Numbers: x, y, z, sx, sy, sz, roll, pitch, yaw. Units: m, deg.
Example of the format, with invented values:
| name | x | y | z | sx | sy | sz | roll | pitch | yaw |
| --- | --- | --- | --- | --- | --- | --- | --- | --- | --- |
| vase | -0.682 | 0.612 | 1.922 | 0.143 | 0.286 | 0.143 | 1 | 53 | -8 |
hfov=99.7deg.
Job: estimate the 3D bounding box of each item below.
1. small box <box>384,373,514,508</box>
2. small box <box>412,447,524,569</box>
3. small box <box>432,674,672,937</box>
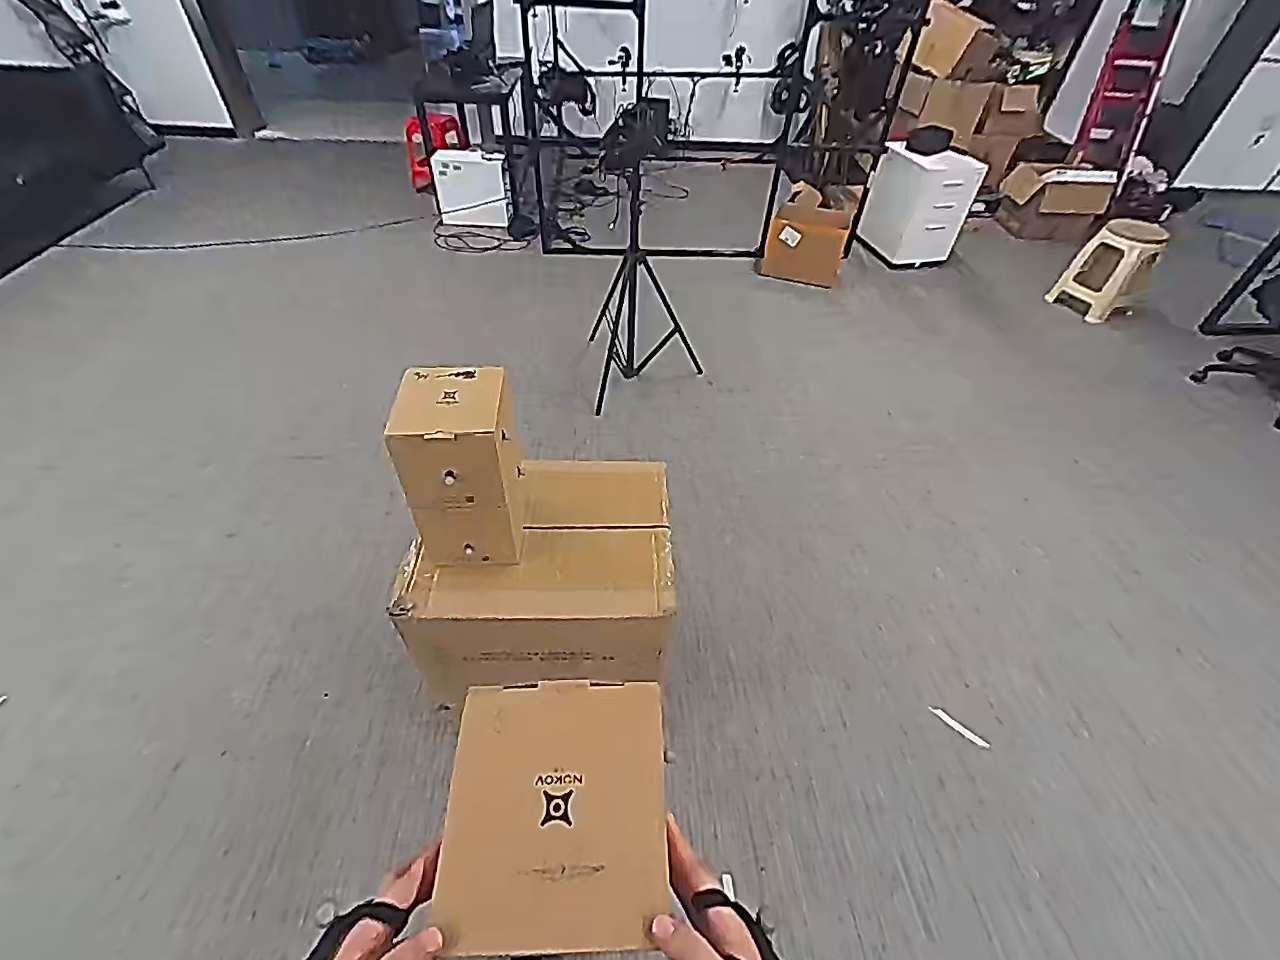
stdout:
| name | x | y | z | sx | sy | sz | roll | pitch | yaw |
| --- | --- | --- | --- | --- | --- | --- | --- | --- | --- |
| small box | -0.312 | -0.063 | 0.928 | 0.168 | 0.176 | 0.179 | -2 | 47 | -6 |
| small box | -0.318 | 0.053 | 1.044 | 0.168 | 0.176 | 0.179 | -1 | 46 | -4 |
| small box | -0.062 | 0.288 | 0.479 | 0.168 | 0.176 | 0.179 | -1 | 51 | -1 |
